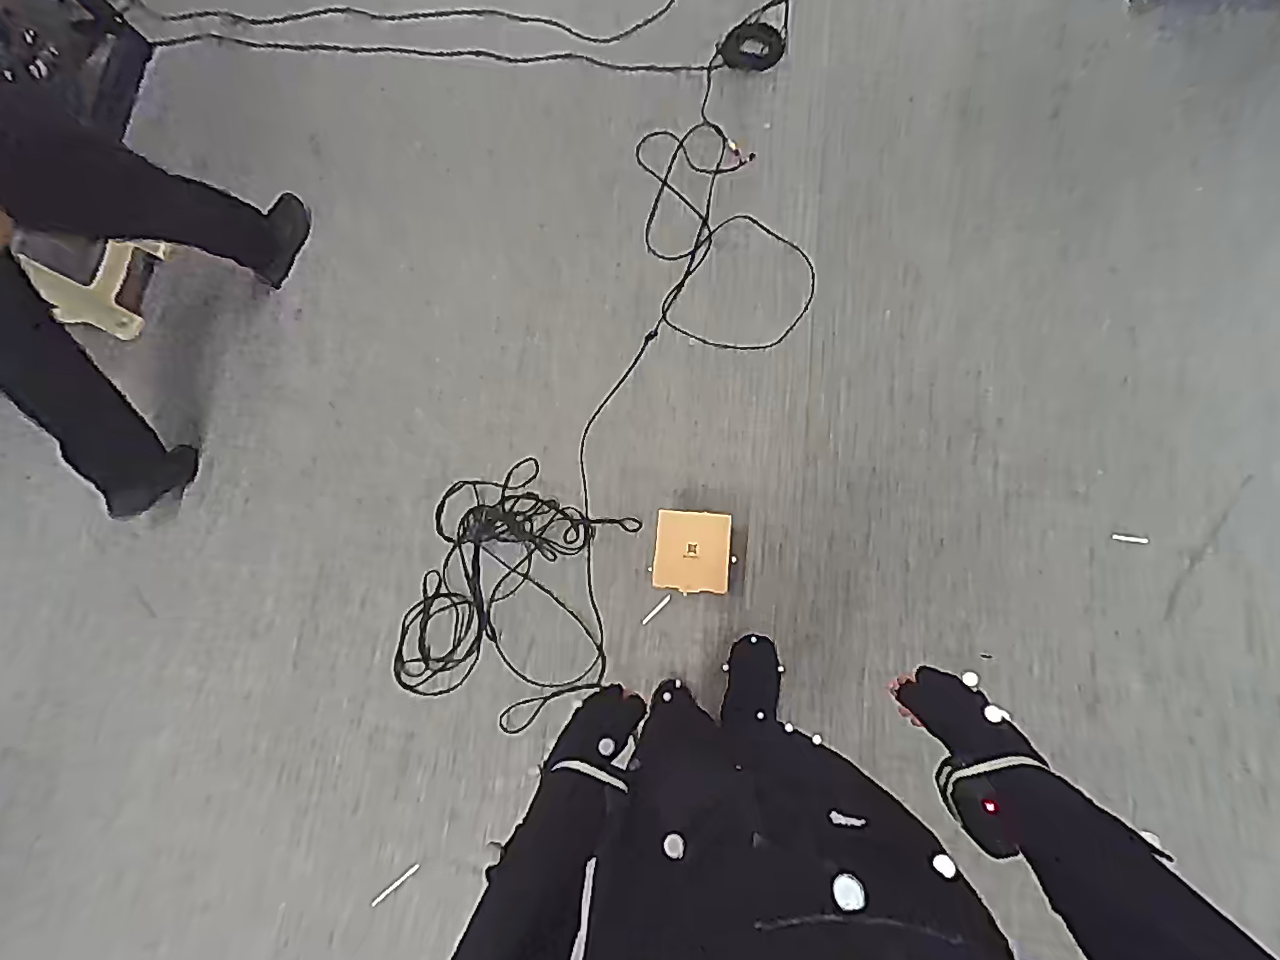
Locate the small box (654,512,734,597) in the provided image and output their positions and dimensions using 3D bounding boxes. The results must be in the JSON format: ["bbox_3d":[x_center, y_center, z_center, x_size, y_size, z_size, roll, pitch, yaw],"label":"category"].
[{"bbox_3d":[0.129,0.179,1.271,0.168,0.176,0.179,4,79,9],"label":"small box"}]
